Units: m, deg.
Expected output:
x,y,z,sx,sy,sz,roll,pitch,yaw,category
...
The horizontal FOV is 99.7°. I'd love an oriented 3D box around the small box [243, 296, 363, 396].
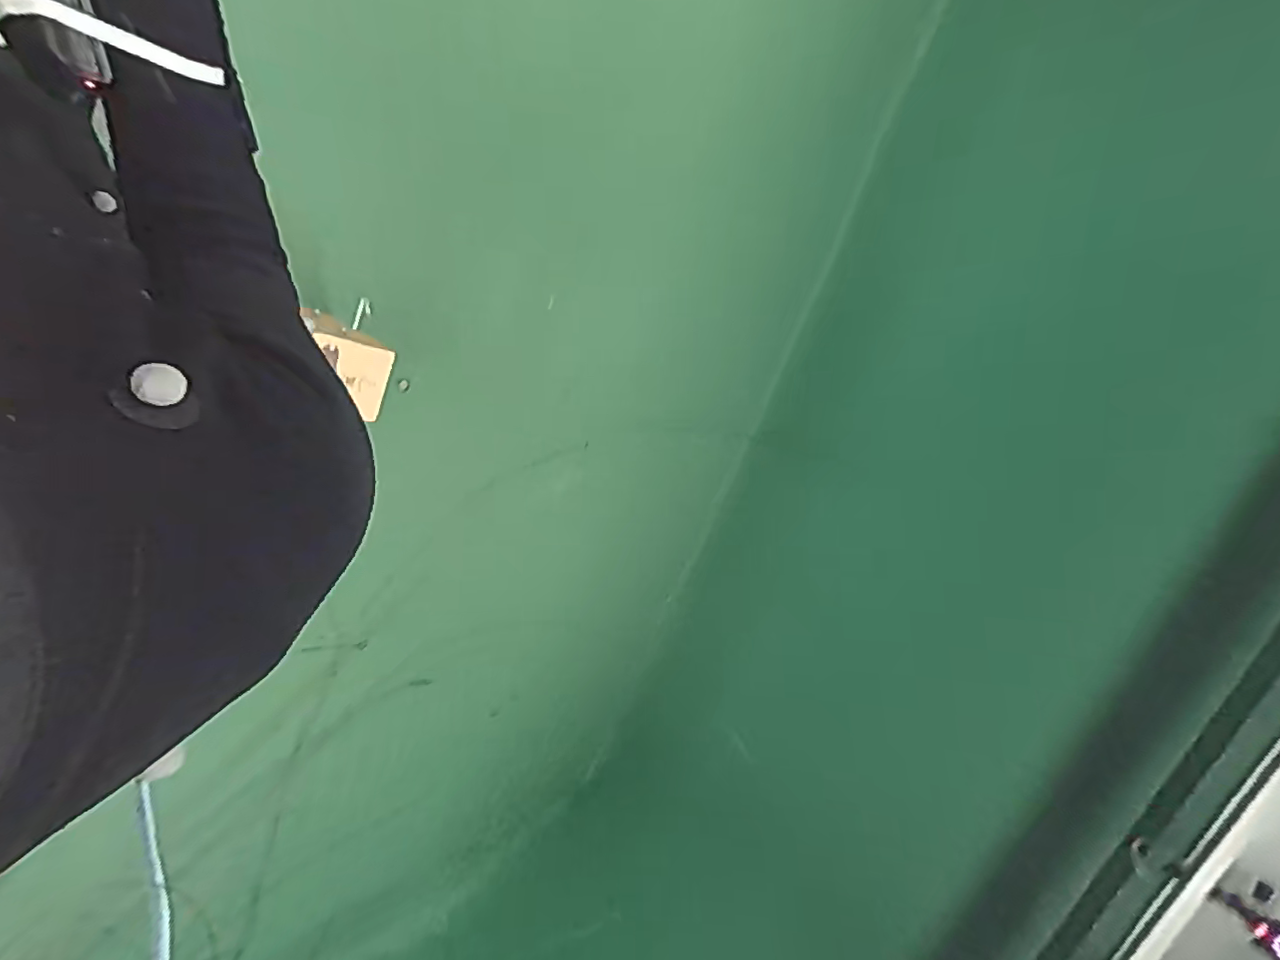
x,y,z,sx,sy,sz,roll,pitch,yaw,category
-0.794,-0.316,1.269,0.179,0.176,0.168,8,109,-56,small box
